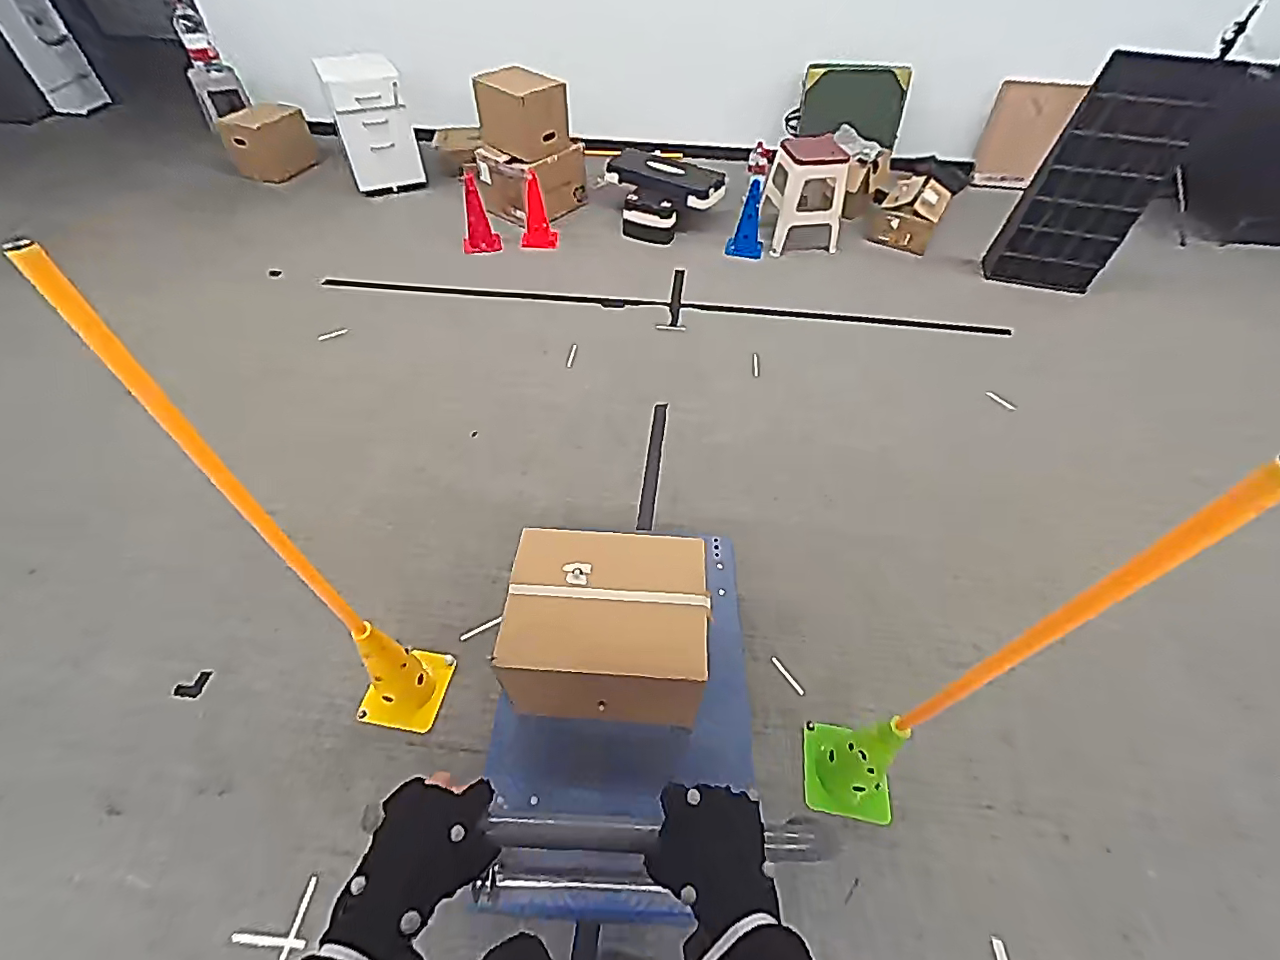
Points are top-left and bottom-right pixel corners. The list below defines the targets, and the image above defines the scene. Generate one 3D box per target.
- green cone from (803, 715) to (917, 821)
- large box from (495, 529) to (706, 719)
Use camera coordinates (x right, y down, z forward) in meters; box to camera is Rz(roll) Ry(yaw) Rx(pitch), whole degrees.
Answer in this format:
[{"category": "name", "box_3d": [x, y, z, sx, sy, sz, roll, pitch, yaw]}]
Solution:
[{"category": "green cone", "box_3d": [0.510, 0.599, 1.197, 0.202, 0.368, 0.200, 10, 50, 5]}, {"category": "large box", "box_3d": [-0.066, 0.329, 1.216, 0.408, 0.320, 0.320, 3, 51, 2]}]
